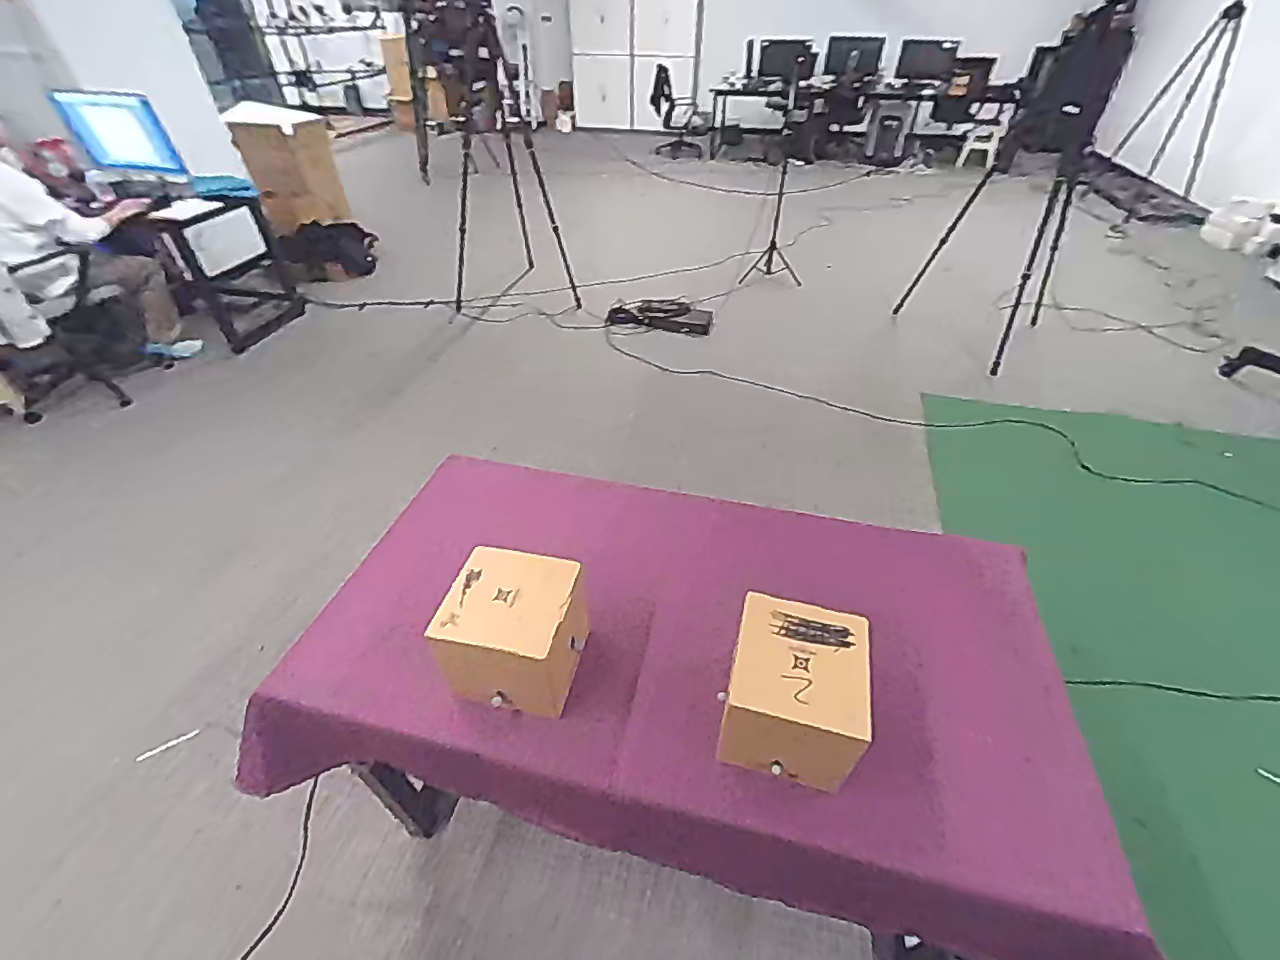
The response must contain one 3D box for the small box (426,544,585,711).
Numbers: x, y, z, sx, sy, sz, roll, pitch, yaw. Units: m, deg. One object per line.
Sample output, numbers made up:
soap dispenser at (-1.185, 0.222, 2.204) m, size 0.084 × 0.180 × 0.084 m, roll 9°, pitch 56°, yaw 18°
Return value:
small box at (-0.188, 0.226, 0.821) m, size 0.179 × 0.176 × 0.168 m, roll 9°, pitch 42°, yaw 9°
